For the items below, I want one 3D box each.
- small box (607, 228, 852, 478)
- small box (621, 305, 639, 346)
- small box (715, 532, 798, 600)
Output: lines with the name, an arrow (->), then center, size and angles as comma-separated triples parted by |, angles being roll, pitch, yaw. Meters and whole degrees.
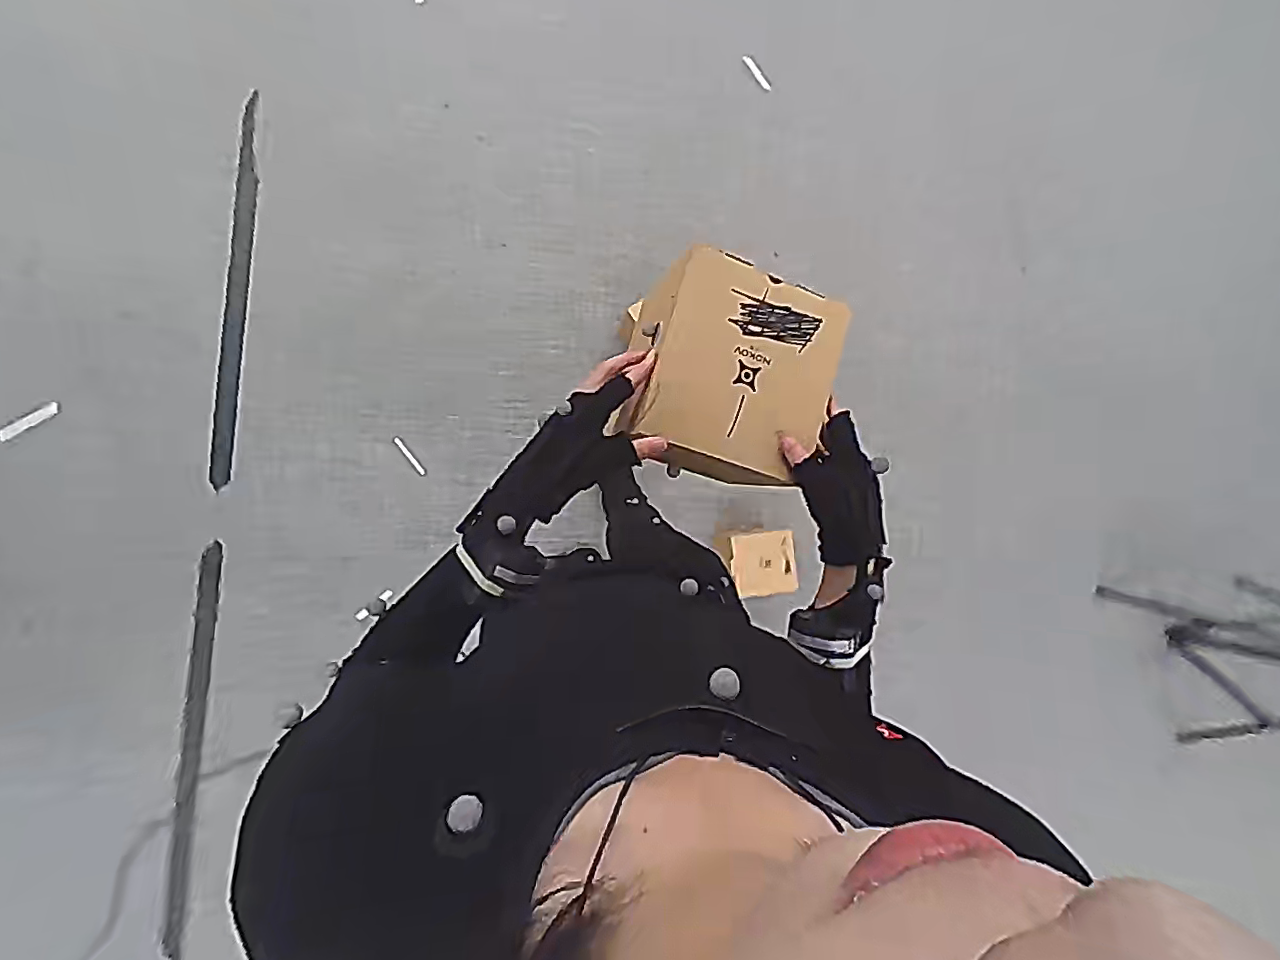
small box -> 0.076, -0.107, 0.542 | 0.168, 0.176, 0.179 | 16, 86, -14
small box -> 0.067, -0.406, 1.506 | 0.168, 0.176, 0.179 | -35, 92, -12
small box -> 0.315, 0.234, 1.505 | 0.179, 0.176, 0.168 | -5, 87, -10
